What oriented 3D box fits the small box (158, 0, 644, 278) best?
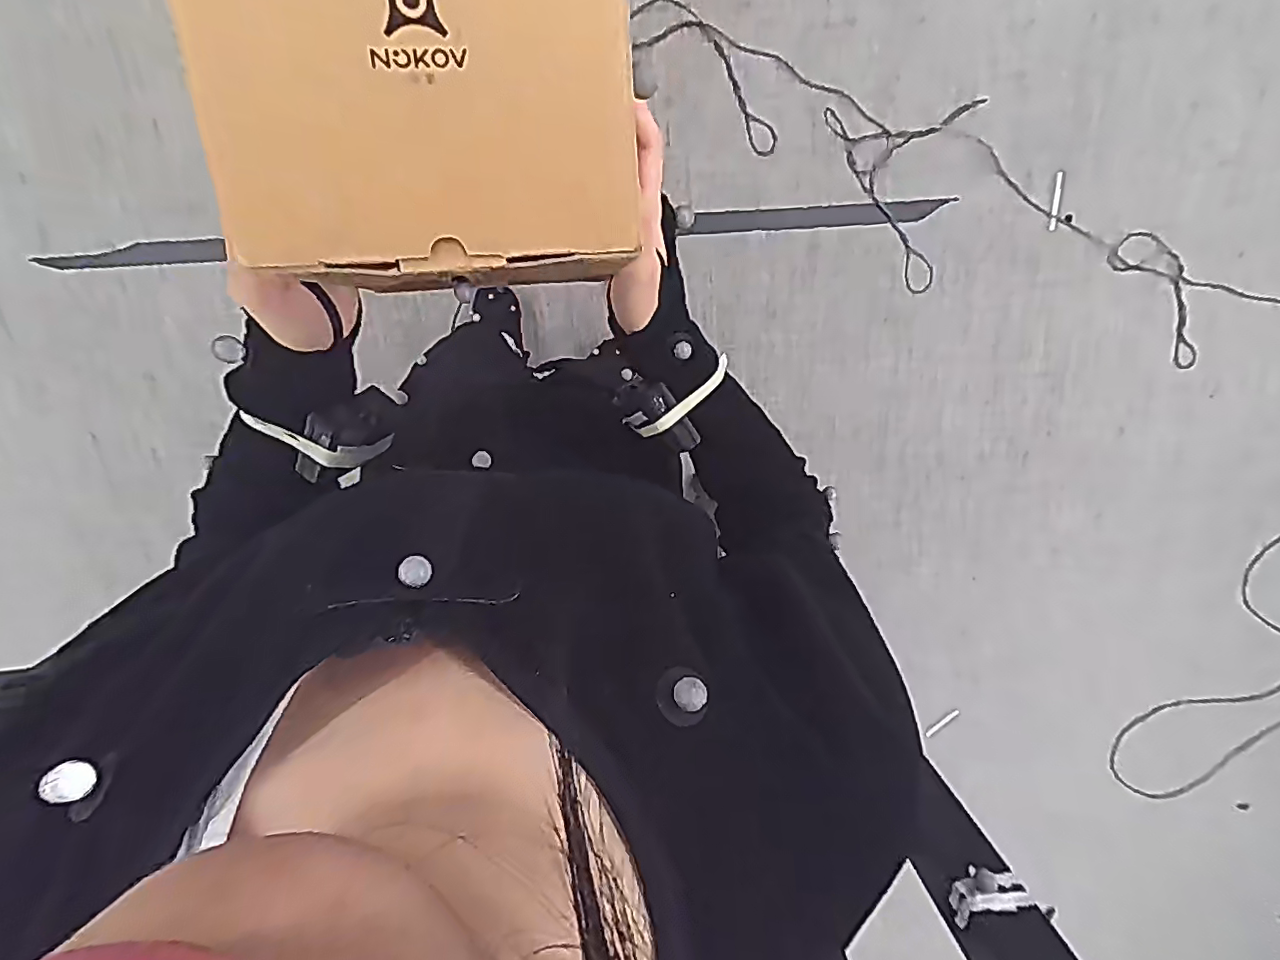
[{"bbox_3d":[-0.096,-0.201,0.266,0.168,0.176,0.179,-6,109,-7],"label":"small box"}]
